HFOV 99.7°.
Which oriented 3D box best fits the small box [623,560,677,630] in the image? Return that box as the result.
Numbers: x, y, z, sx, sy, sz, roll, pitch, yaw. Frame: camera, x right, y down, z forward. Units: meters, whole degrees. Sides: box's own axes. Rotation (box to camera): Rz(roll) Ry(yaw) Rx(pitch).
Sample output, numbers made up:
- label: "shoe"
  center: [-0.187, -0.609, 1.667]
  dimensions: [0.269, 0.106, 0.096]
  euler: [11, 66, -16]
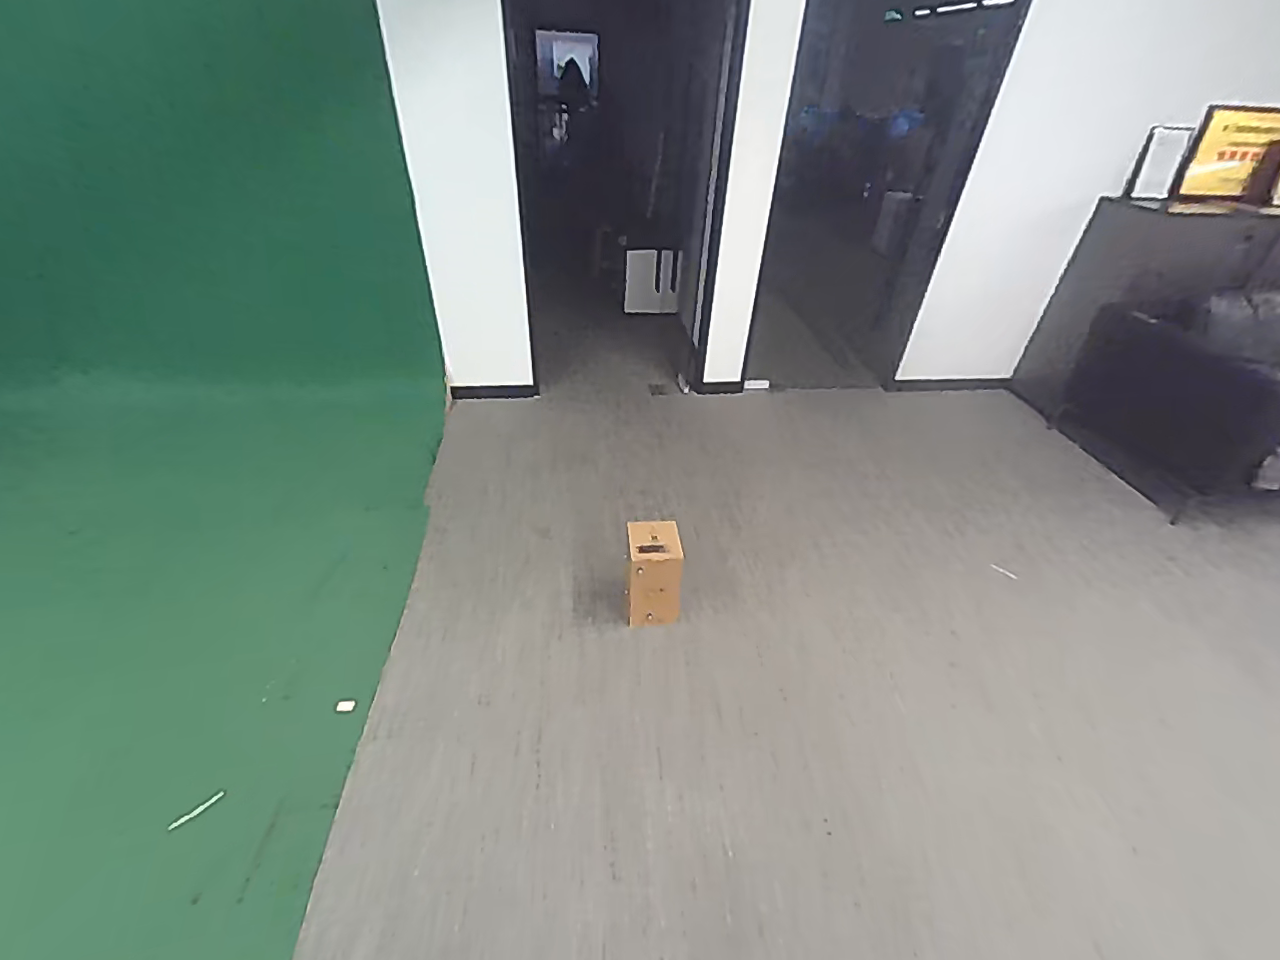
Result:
- label: "small box"
  center: [0.030, 0.400, 1.885]
  dimensions: [0.168, 0.176, 0.179]
  euler: [-1, 38, -7]
